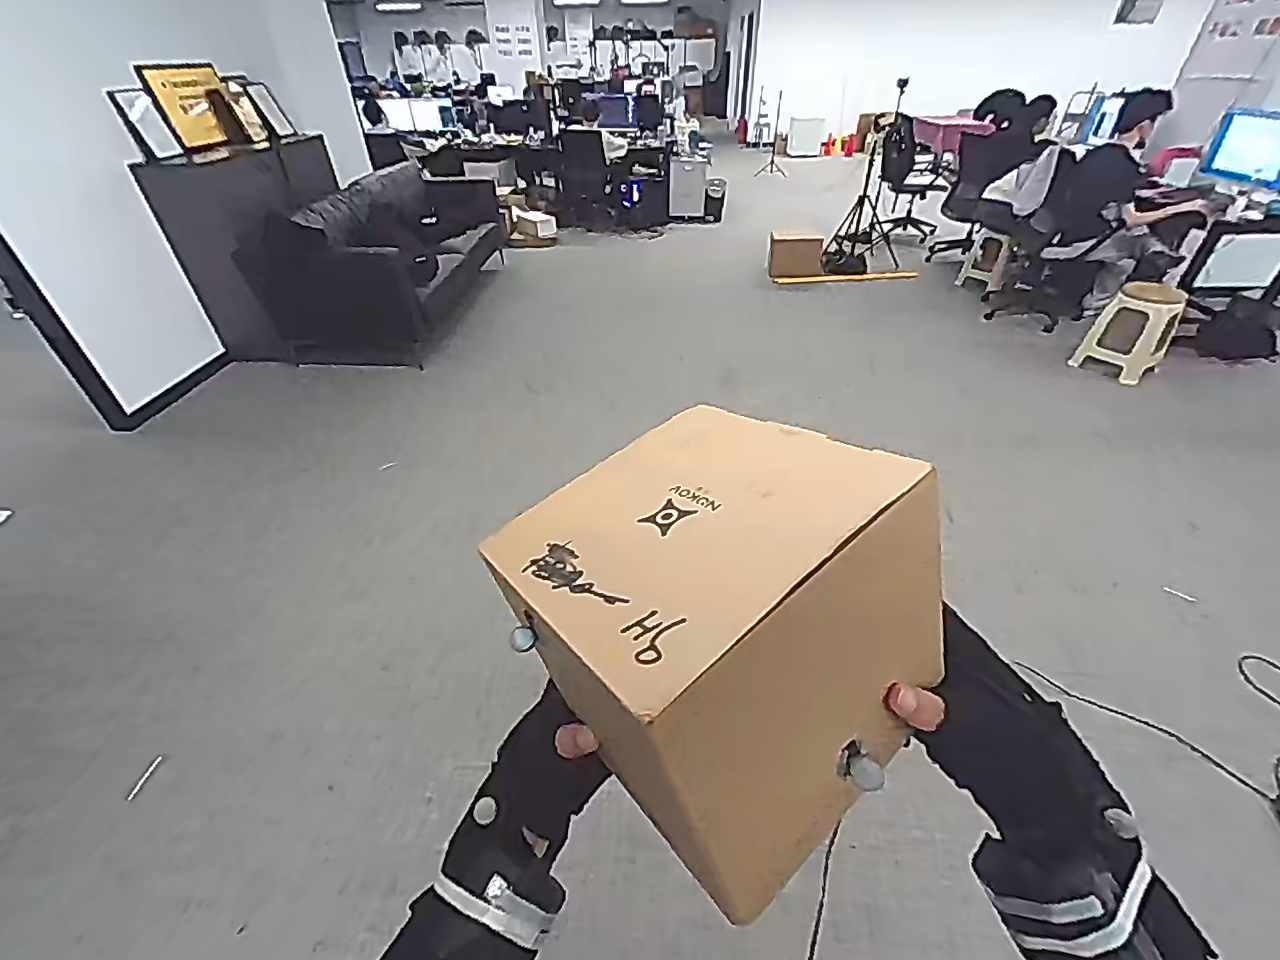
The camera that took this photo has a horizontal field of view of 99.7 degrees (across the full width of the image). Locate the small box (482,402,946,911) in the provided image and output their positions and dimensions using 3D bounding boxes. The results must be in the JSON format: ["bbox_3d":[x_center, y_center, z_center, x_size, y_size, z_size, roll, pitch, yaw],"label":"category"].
[{"bbox_3d":[0.045,0.079,0.308,0.179,0.176,0.168,-33,32,-23],"label":"small box"}]
